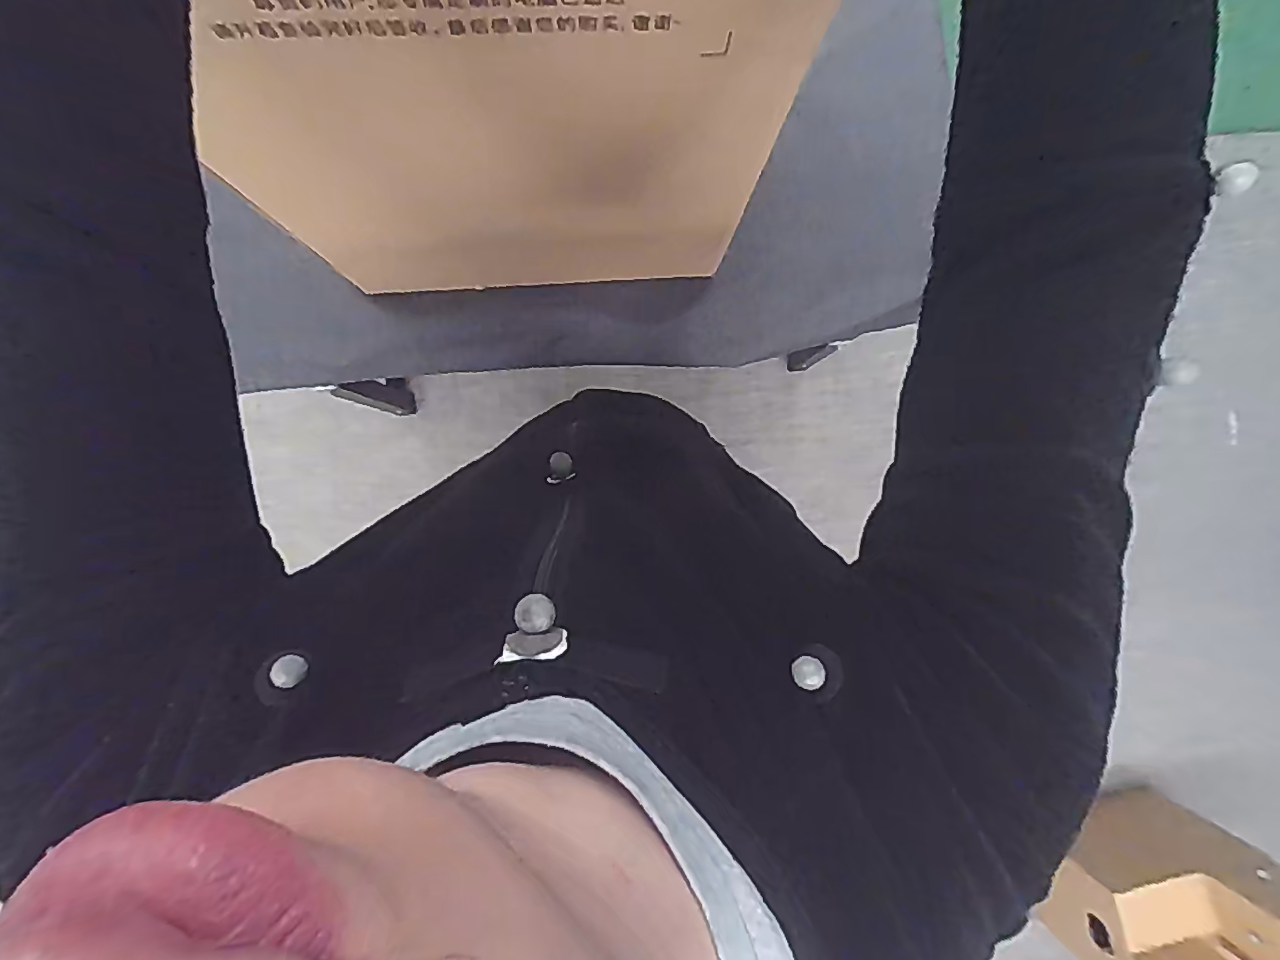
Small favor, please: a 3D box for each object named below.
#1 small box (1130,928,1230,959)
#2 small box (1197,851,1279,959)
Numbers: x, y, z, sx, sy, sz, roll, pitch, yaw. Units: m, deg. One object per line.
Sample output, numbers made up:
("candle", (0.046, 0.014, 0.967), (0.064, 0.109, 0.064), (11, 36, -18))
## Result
("small box", (1.247, 1.161, 1.204), (0.179, 0.176, 0.168), (-15, 94, -3))
("small box", (1.424, 0.983, 1.210), (0.168, 0.176, 0.179), (-11, 87, -2))
